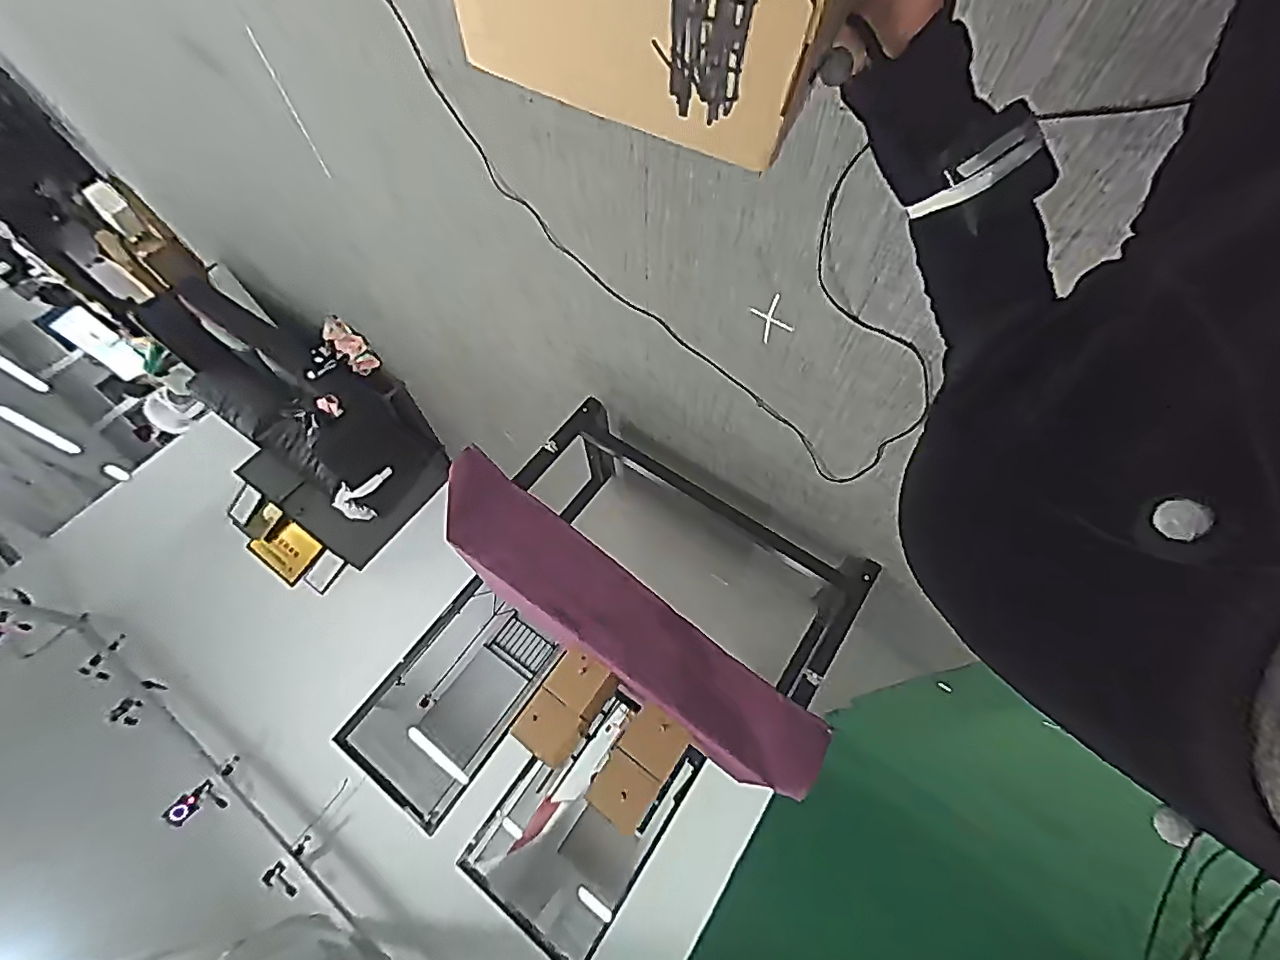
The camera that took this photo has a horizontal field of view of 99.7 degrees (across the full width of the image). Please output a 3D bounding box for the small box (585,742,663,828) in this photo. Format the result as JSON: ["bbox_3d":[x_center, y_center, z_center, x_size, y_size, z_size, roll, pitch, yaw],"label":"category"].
[{"bbox_3d":[-0.046,0.936,1.675,0.179,0.176,0.168,31,157,18],"label":"small box"}]

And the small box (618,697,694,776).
[{"bbox_3d":[0.051,0.817,1.735,0.179,0.176,0.168,32,158,19],"label":"small box"}]

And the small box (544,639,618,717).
[{"bbox_3d":[-0.190,0.669,1.831,0.168,0.176,0.179,29,156,23],"label":"small box"}]

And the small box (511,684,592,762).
[{"bbox_3d":[-0.284,0.787,1.767,0.179,0.176,0.168,29,158,22],"label":"small box"}]
